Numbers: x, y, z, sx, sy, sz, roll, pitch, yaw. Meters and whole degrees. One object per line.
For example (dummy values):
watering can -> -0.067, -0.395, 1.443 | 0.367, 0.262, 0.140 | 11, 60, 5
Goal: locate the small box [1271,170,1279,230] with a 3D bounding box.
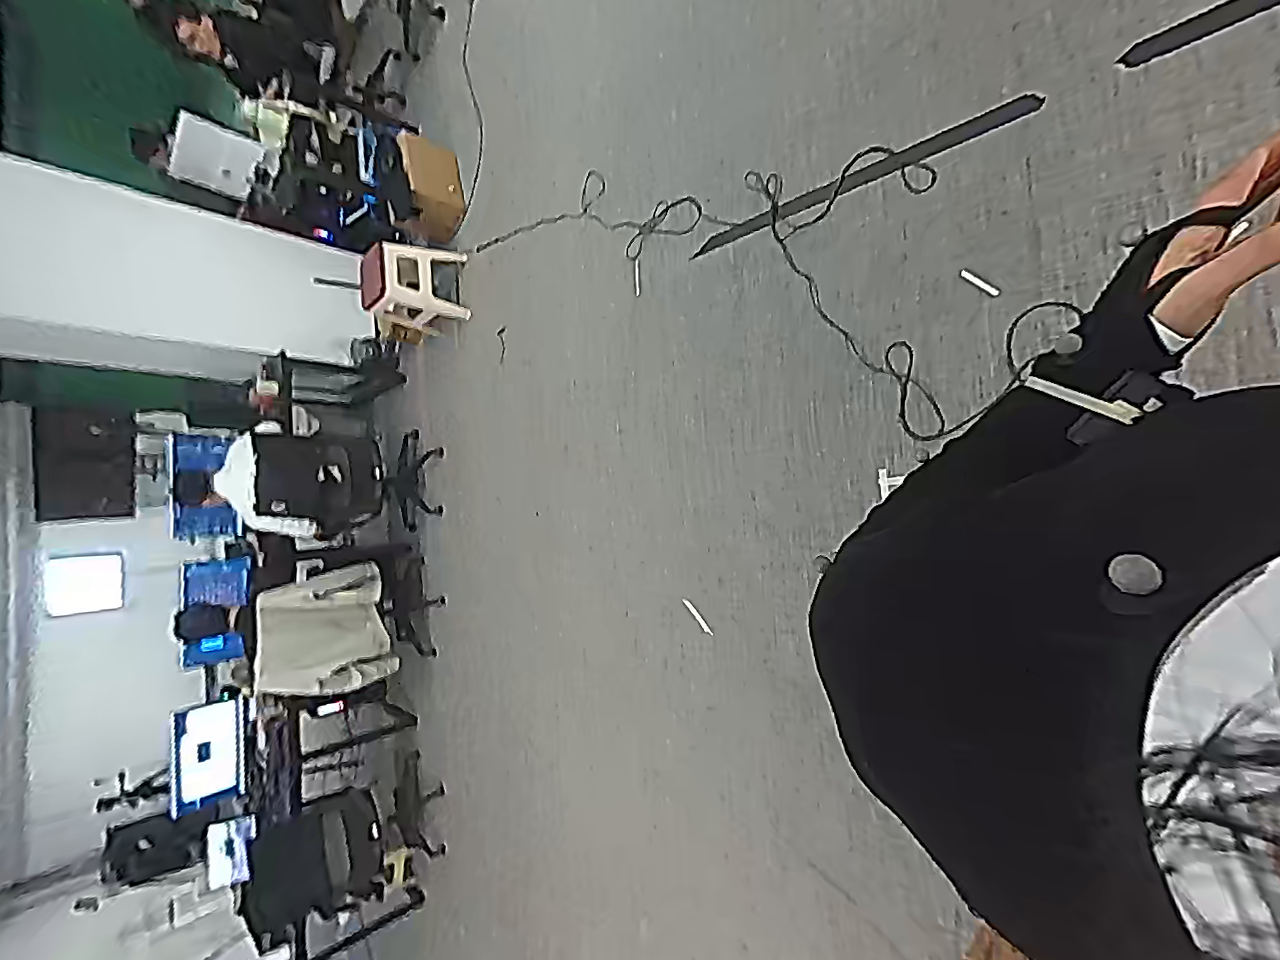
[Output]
small box -> 0.474, -0.234, 0.278 | 0.168, 0.176, 0.179 | 12, 110, 42

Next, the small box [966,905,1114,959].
small box -> 0.586, 0.767, 0.772 | 0.168, 0.176, 0.179 | -6, 83, 47
